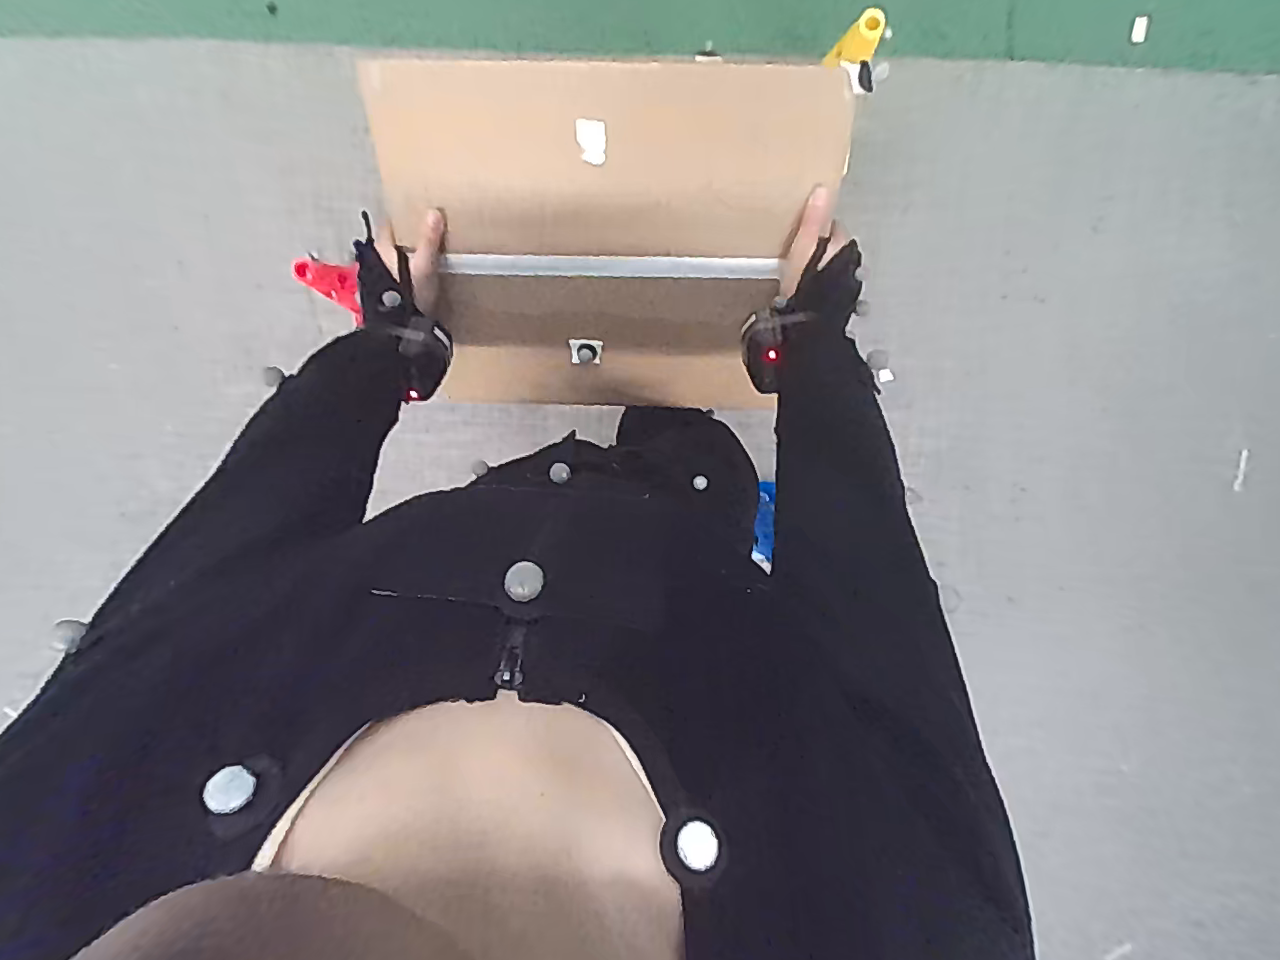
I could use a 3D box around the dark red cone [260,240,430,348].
[{"bbox_3d":[-0.588,-0.392,1.069,0.202,0.394,0.201,-5,96,3],"label":"dark red cone"}]
